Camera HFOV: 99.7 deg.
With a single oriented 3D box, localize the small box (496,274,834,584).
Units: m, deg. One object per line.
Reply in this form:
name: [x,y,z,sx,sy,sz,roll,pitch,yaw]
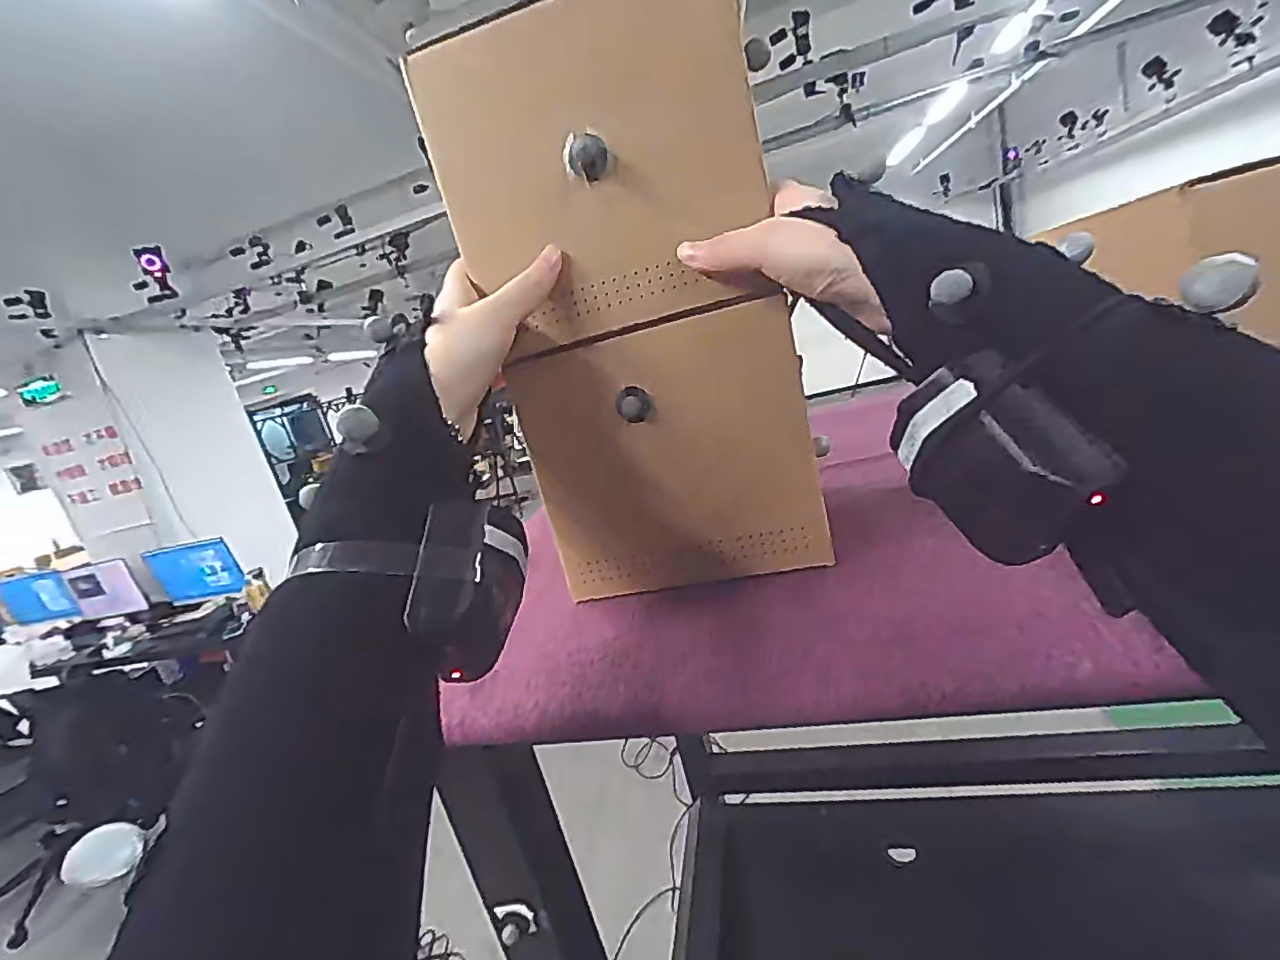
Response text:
small box: [0.029,-0.037,0.396,0.179,0.176,0.168,-11,15,14]
